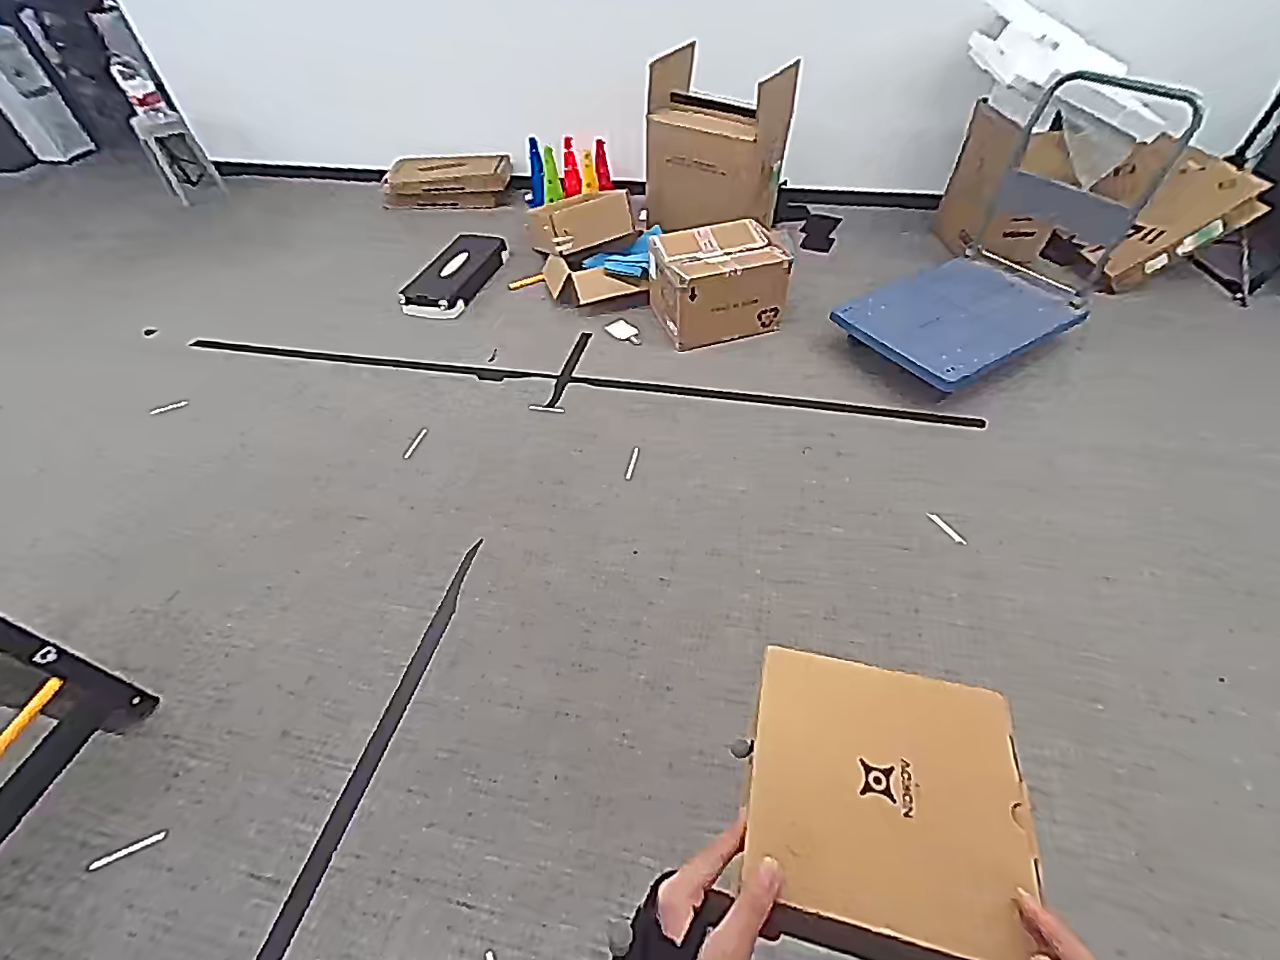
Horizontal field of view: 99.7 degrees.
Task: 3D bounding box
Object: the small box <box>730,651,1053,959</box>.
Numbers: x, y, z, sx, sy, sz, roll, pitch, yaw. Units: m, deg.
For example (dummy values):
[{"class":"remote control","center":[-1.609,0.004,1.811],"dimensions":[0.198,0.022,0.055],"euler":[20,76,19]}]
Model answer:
[{"class":"small box","center":[0.169,0.261,0.421],"dimensions":[0.179,0.176,0.168],"euler":[8,48,13]}]
